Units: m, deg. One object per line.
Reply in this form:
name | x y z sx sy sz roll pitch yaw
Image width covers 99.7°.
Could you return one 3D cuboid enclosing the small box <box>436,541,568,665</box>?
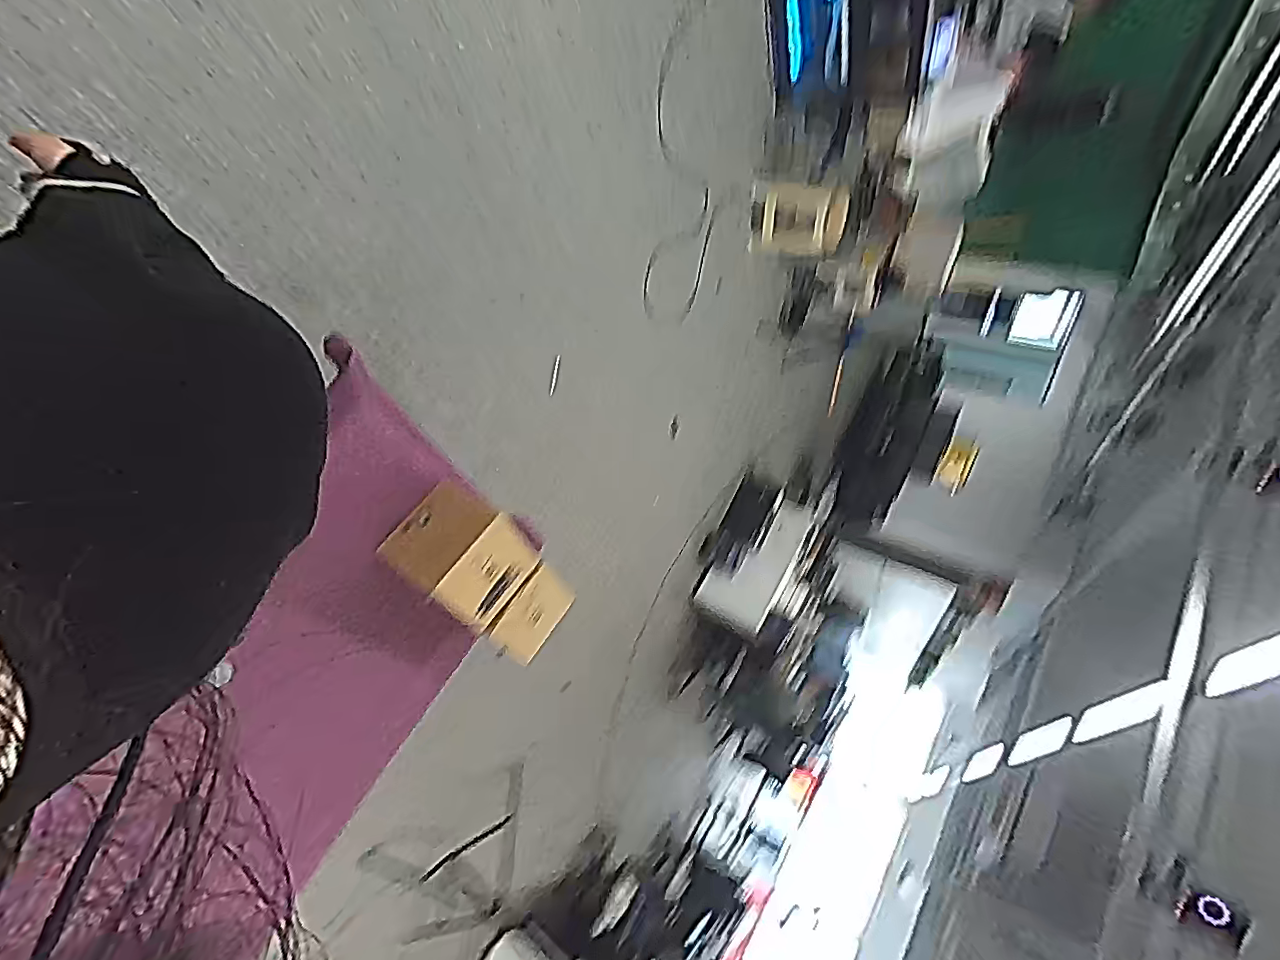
small box | -0.288 0.254 1.141 0.168 0.176 0.179 -54 147 -24
